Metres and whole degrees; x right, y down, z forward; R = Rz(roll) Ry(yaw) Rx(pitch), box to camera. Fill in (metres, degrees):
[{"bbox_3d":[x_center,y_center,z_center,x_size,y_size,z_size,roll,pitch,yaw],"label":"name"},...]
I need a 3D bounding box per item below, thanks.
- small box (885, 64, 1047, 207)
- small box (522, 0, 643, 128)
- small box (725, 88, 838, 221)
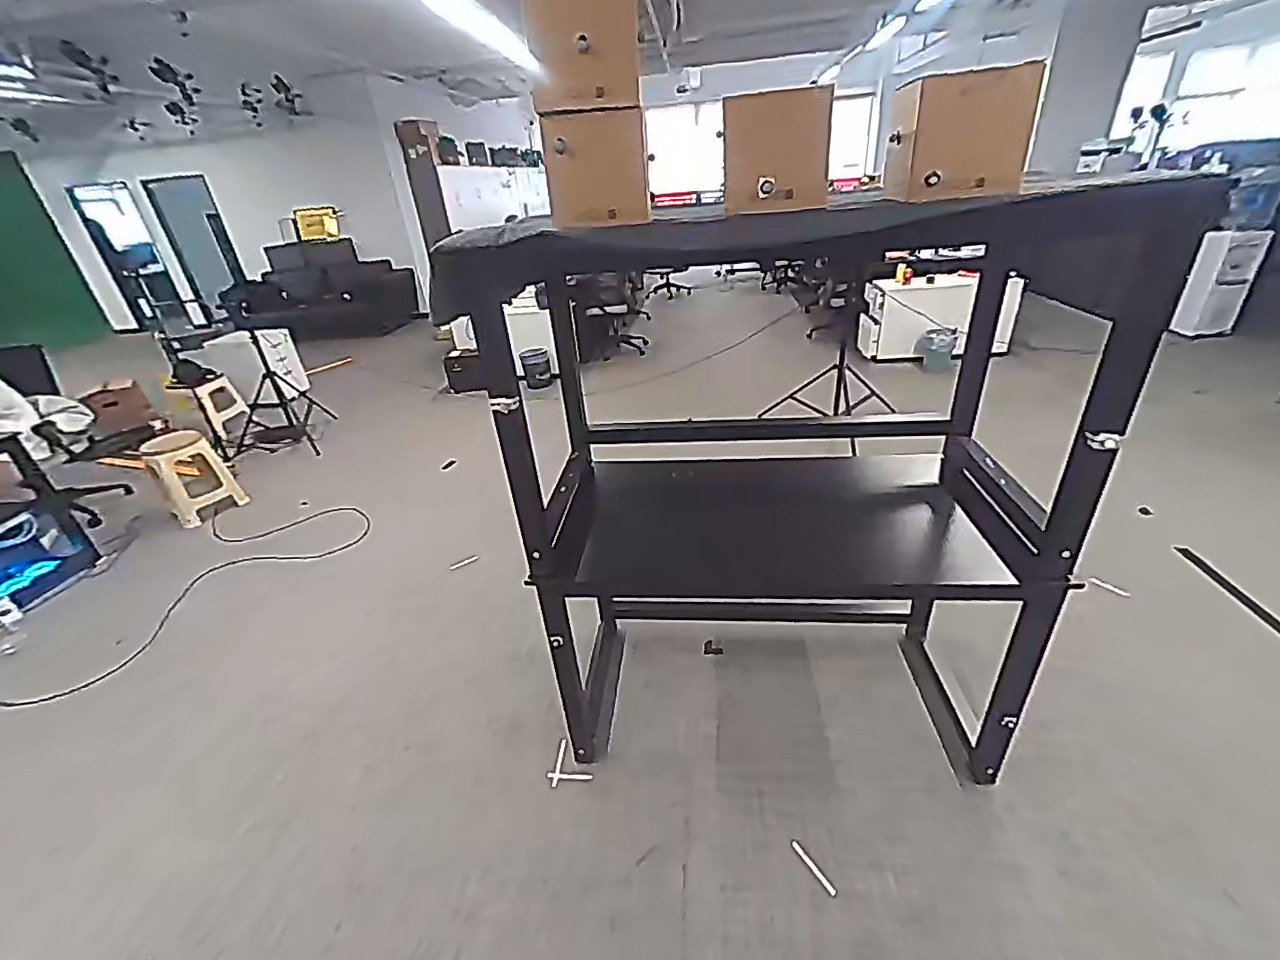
[{"bbox_3d":[0.510,-0.544,0.876,0.168,0.176,0.179,0,28,9],"label":"small box"},{"bbox_3d":[-0.081,-0.672,0.861,0.168,0.176,0.179,-2,29,1],"label":"small box"},{"bbox_3d":[0.229,-0.535,0.908,0.168,0.176,0.179,-1,28,10],"label":"small box"}]
